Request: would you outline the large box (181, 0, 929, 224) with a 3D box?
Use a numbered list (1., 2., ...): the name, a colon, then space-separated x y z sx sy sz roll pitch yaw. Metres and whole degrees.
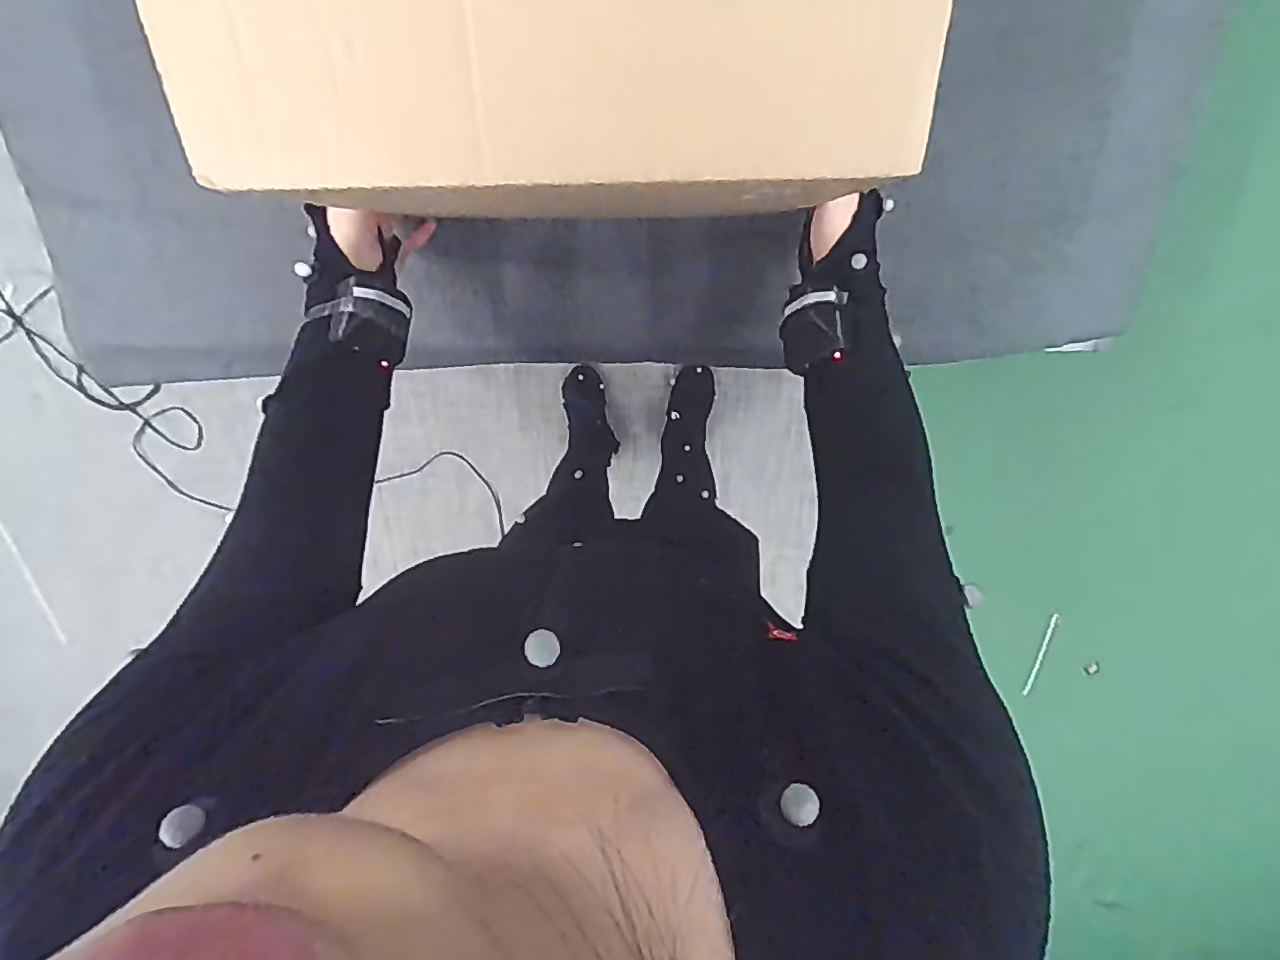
1. large box: -0.046 -0.373 0.397 0.408 0.320 0.320 0 113 2
